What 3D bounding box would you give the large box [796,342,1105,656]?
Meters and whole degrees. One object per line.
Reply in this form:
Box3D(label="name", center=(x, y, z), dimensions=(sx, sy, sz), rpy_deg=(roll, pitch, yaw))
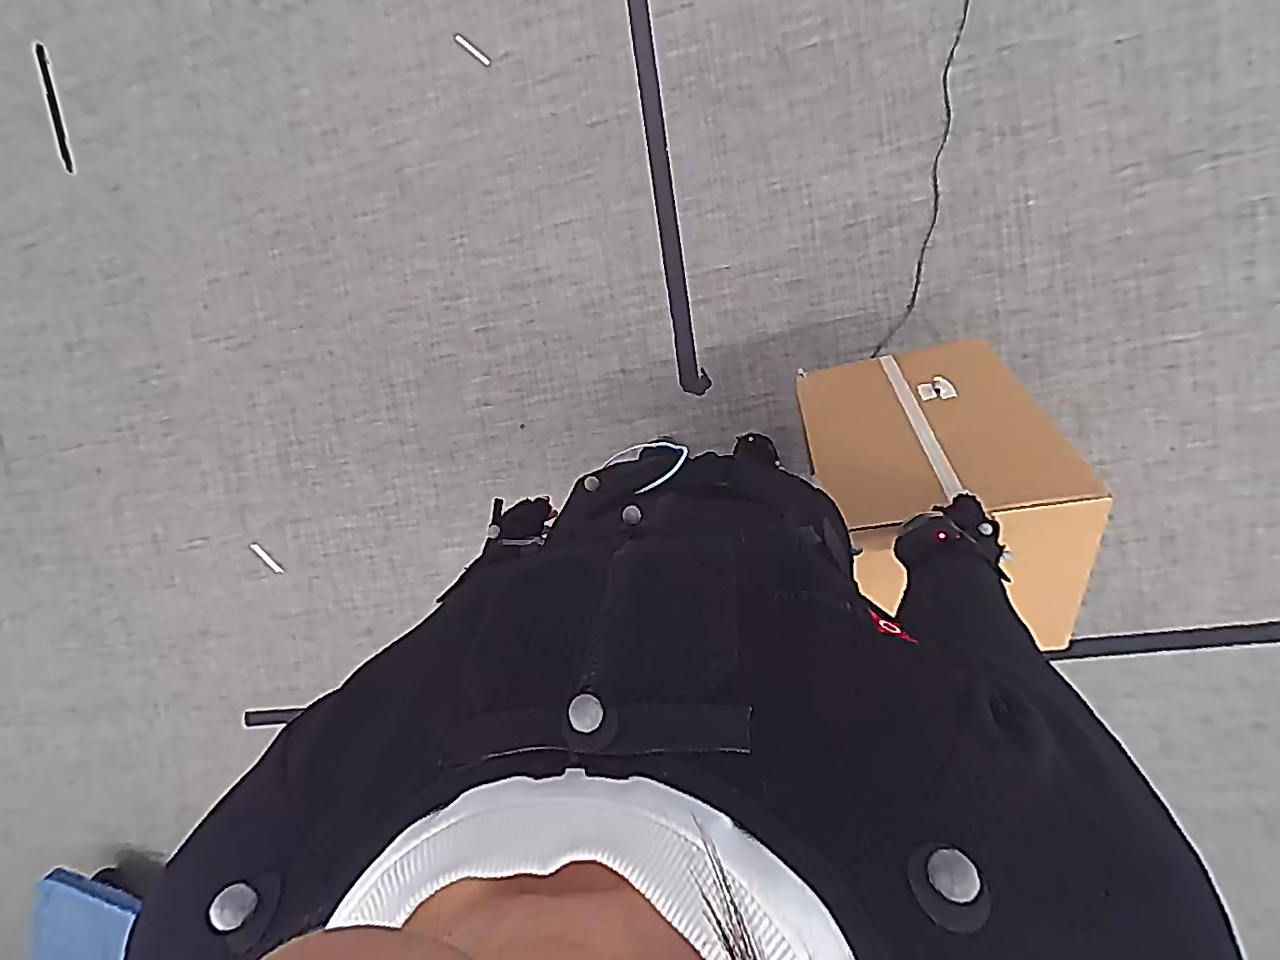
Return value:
Box3D(label="large box", center=(0.463, 0.026, 0.905), dimensions=(0.320, 0.408, 0.320), rpy_deg=(-9, 128, 15))
